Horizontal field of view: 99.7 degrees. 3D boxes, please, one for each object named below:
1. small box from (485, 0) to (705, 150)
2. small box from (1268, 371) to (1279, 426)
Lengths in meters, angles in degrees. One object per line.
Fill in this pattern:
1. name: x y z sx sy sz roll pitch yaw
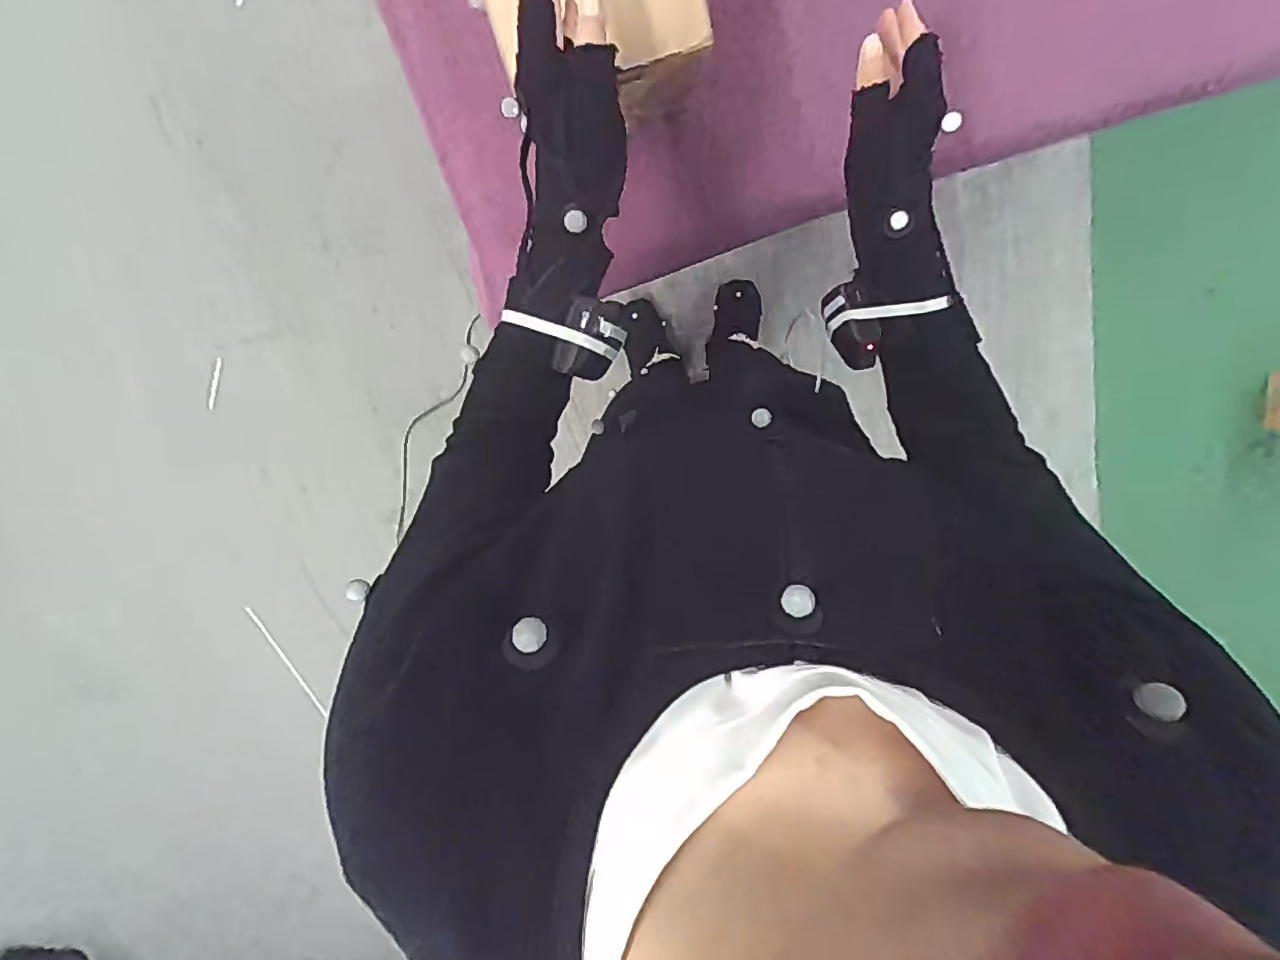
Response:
1. small box: -0.050 -0.437 0.492 0.168 0.176 0.179 -16 110 6
2. small box: 1.774 -0.217 1.363 0.179 0.176 0.168 -16 110 6
